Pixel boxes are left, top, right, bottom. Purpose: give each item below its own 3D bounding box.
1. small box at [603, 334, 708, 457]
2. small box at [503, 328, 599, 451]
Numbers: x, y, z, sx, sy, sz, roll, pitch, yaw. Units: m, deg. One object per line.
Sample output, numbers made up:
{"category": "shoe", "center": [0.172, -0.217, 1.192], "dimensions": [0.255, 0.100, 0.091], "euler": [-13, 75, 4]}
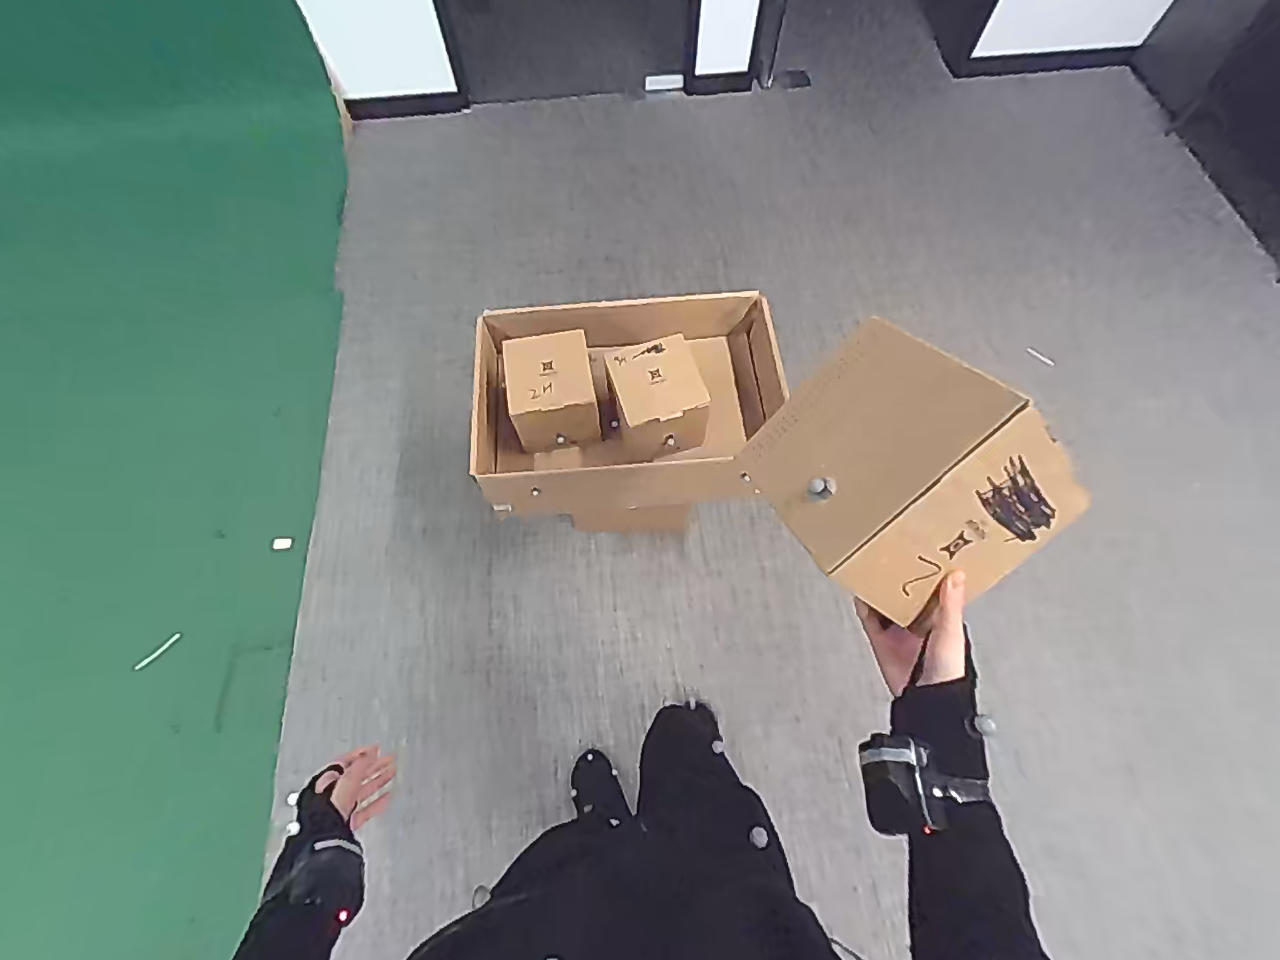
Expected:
{"category": "small box", "center": [0.029, -0.162, 1.104], "dimensions": [0.168, 0.176, 0.179], "euler": [-16, 67, -7]}
{"category": "small box", "center": [-0.180, -0.181, 1.110], "dimensions": [0.168, 0.176, 0.179], "euler": [-9, 66, -3]}
